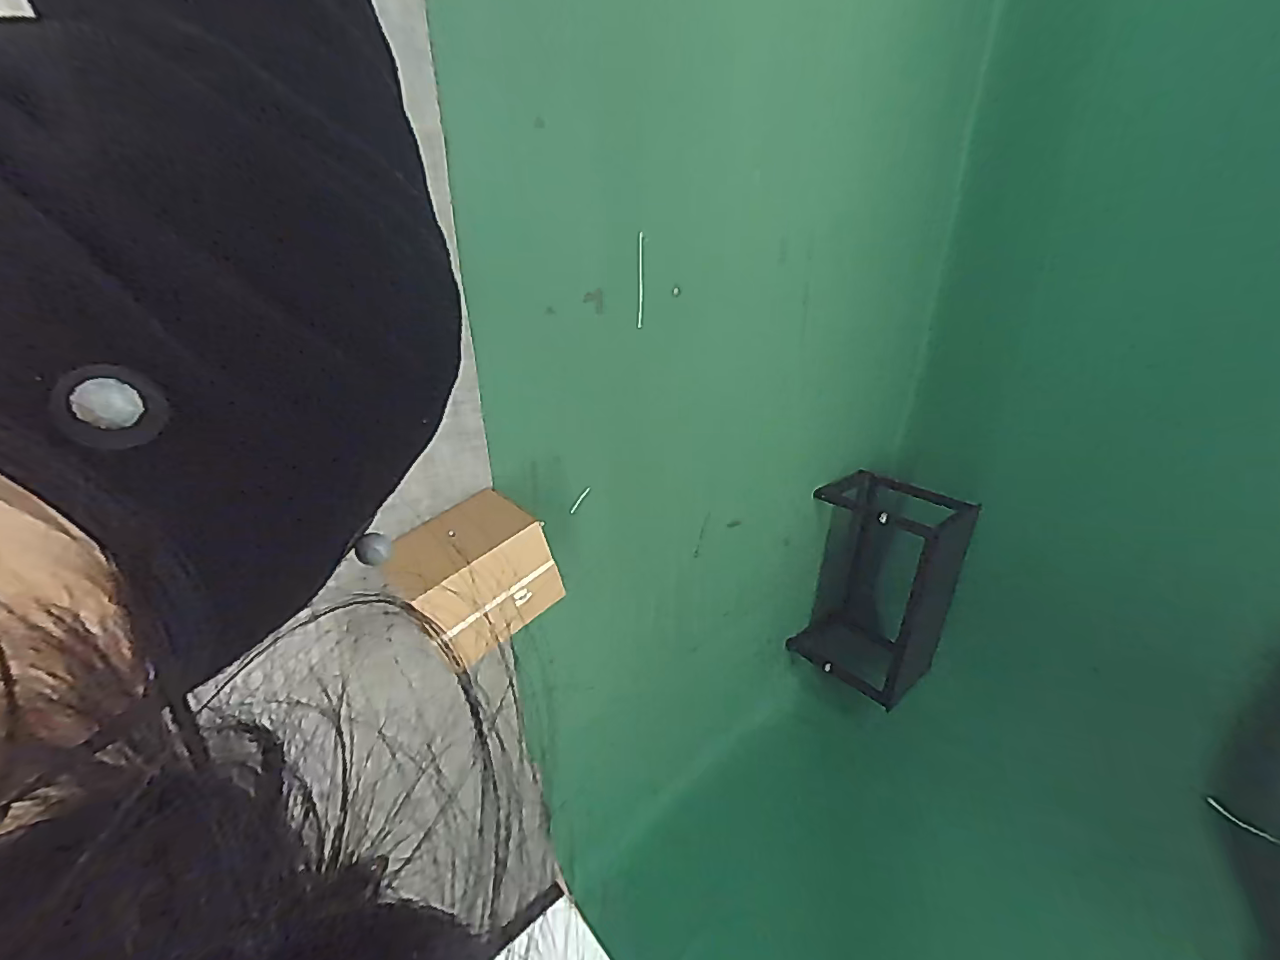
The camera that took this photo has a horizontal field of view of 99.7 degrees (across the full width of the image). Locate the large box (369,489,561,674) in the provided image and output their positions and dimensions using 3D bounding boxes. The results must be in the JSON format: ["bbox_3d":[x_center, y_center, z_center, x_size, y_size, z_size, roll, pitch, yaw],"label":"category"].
[{"bbox_3d":[-0.521,0.288,1.642,0.408,0.320,0.320,-35,130,-30],"label":"large box"}]
